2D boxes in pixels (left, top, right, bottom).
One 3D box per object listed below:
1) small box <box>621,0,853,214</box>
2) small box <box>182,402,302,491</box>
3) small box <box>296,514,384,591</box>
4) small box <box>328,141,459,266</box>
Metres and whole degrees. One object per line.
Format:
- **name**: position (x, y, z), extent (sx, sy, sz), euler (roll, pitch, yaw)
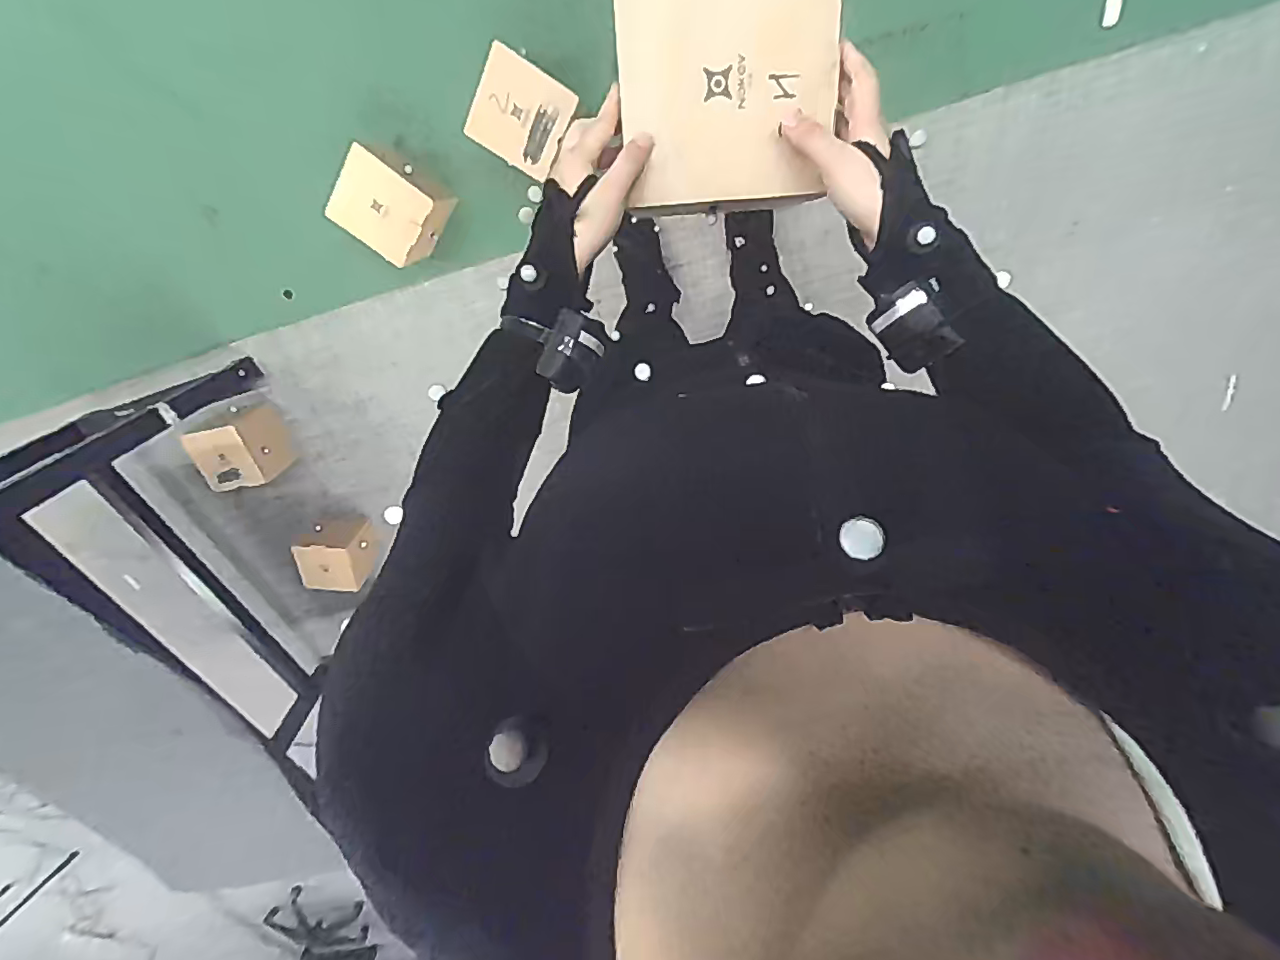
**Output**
- **small box**: position (0.079, -0.345, 0.503), extent (0.179, 0.176, 0.168), euler (-2, 115, 3)
- **small box**: position (-1.088, -0.095, 1.499), extent (0.168, 0.176, 0.179), euler (-10, 120, 7)
- **small box**: position (-0.933, 0.225, 1.697), extent (0.168, 0.176, 0.179), euler (3, 123, 0)
- **small box**: position (-0.527, -0.600, 1.175), extent (0.179, 0.176, 0.168), euler (33, 117, -19)
